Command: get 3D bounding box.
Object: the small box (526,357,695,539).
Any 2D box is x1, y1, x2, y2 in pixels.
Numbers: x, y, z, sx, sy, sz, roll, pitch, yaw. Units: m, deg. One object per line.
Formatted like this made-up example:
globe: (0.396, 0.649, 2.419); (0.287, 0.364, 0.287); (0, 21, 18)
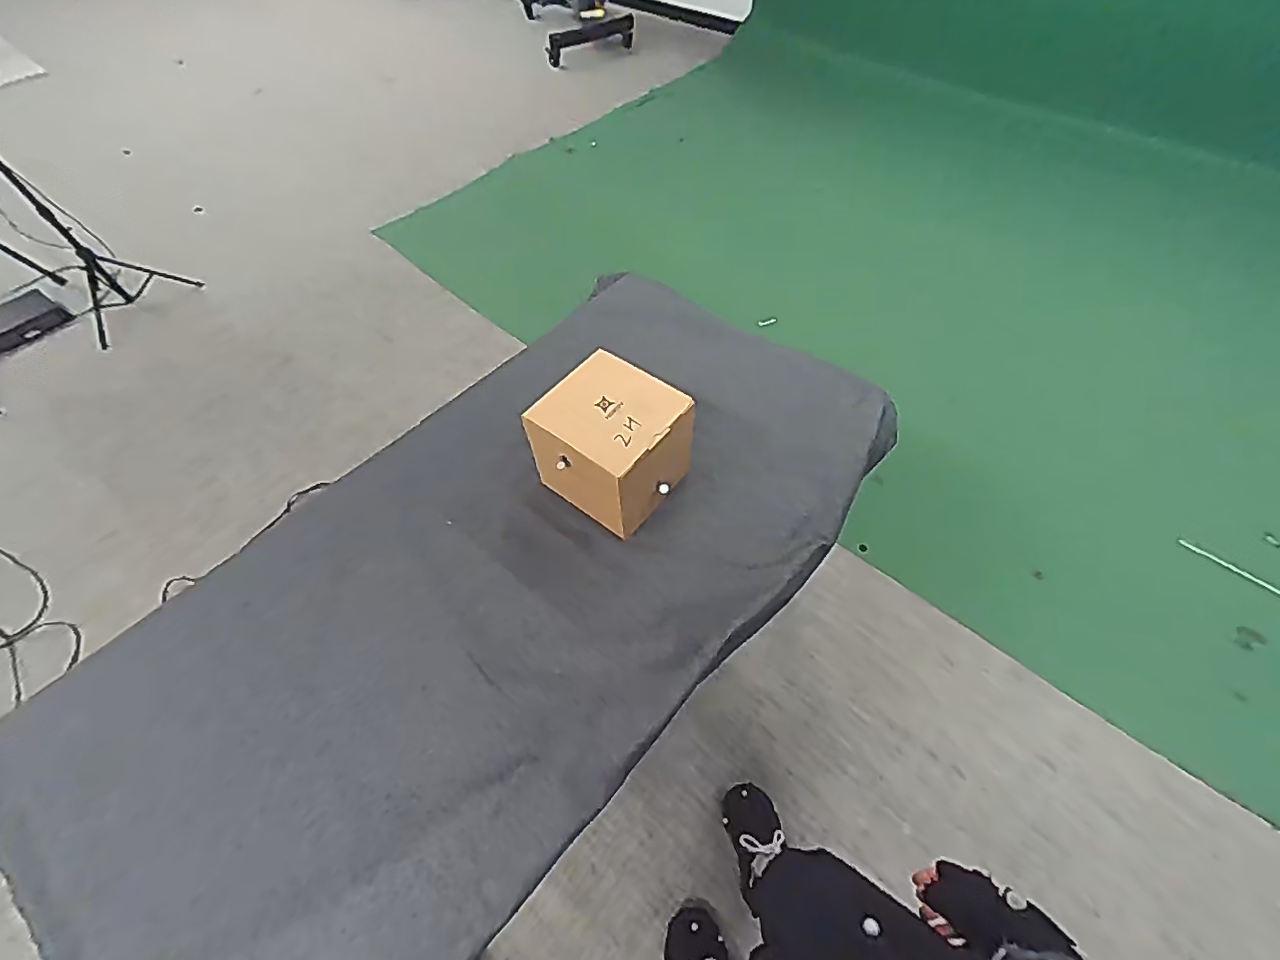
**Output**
small box: (-0.039, -0.043, 0.801); (0.179, 0.176, 0.168); (33, 63, 22)
